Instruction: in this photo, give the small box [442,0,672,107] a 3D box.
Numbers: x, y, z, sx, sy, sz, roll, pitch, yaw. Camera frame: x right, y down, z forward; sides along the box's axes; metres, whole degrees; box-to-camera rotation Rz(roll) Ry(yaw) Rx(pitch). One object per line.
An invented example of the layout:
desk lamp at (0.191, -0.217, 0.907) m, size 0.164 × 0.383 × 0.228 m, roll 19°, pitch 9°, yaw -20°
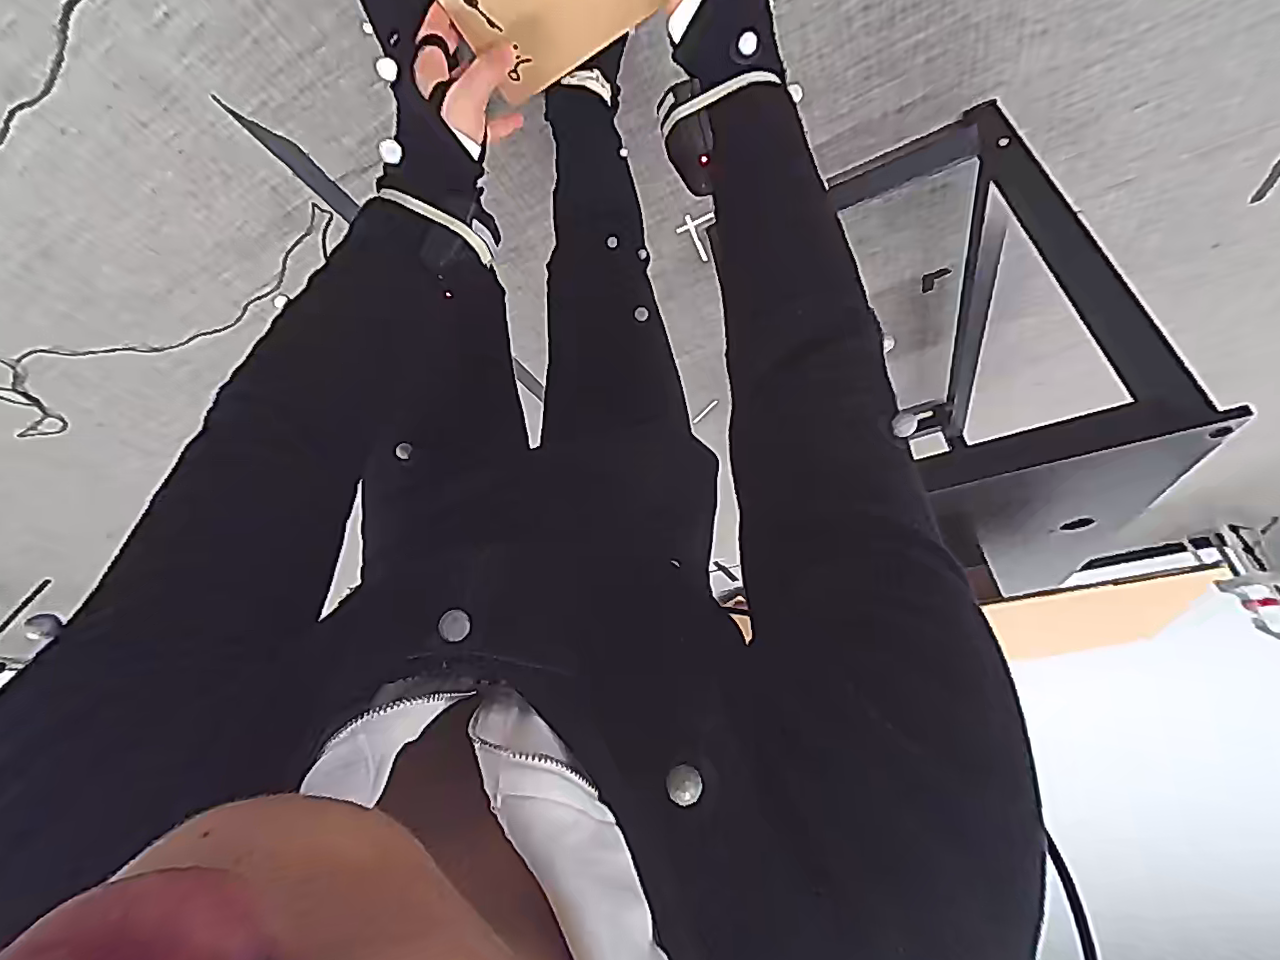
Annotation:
small box at (-0.083, -0.466, 0.437) m, size 0.179 × 0.176 × 0.168 m, roll -20°, pitch 147°, yaw 21°
